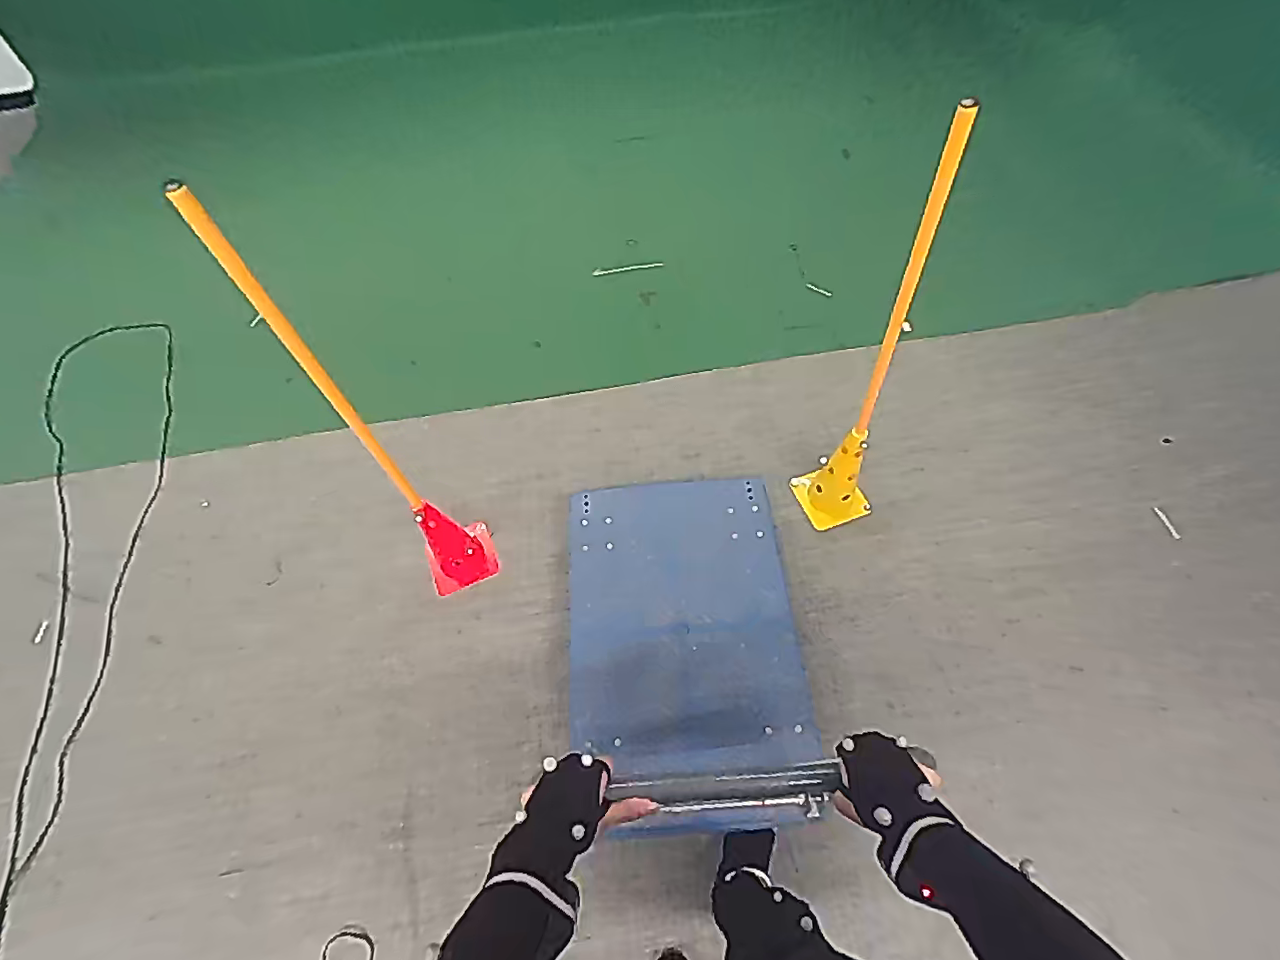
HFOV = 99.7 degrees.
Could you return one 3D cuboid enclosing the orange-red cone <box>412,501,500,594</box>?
[{"bbox_3d":[-0.564,0.160,1.552,0.199,0.360,0.198,-23,60,-8],"label":"orange-red cone"}]
